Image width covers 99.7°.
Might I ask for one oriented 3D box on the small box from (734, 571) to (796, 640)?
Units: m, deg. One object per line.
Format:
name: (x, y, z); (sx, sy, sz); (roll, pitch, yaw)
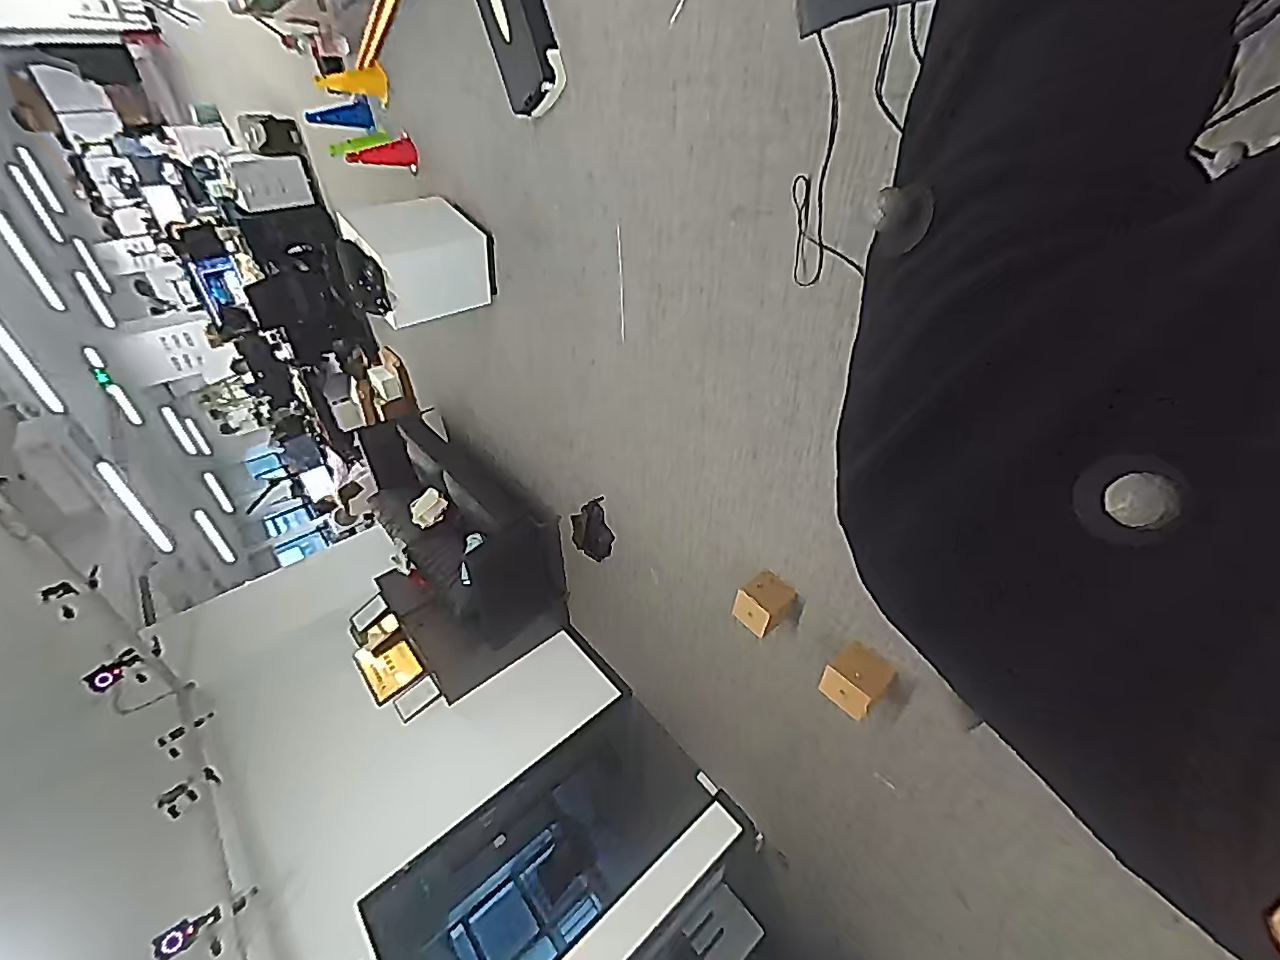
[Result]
small box: (0.508, 0.504, 2.195); (0.168, 0.176, 0.179); (40, 144, 34)

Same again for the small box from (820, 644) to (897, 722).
small box: (0.788, 0.723, 1.951); (0.179, 0.176, 0.168); (35, 140, 37)
